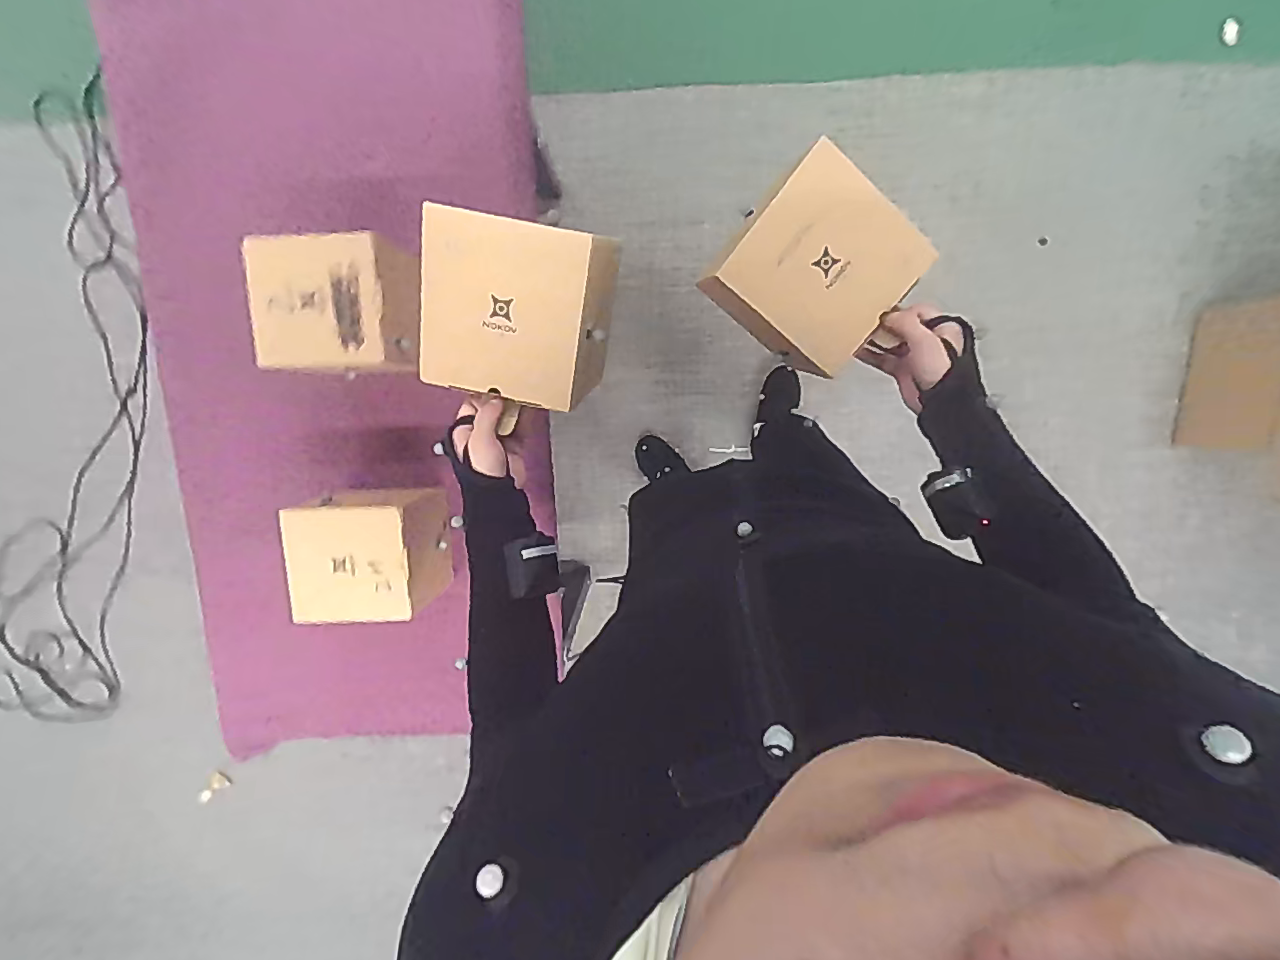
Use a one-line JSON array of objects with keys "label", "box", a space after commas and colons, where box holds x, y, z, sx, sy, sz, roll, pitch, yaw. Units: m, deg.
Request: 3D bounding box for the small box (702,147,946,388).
[{"label": "small box", "box": [0.196, -0.234, 0.626, 0.179, 0.176, 0.168, 38, 101, -12]}]

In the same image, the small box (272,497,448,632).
[{"label": "small box", "box": [-0.415, 0.121, 0.825, 0.179, 0.176, 0.168, -1, 98, 1]}]

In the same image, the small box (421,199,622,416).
[{"label": "small box", "box": [-0.120, -0.192, 0.598, 0.168, 0.176, 0.179, 13, 114, 2]}]
